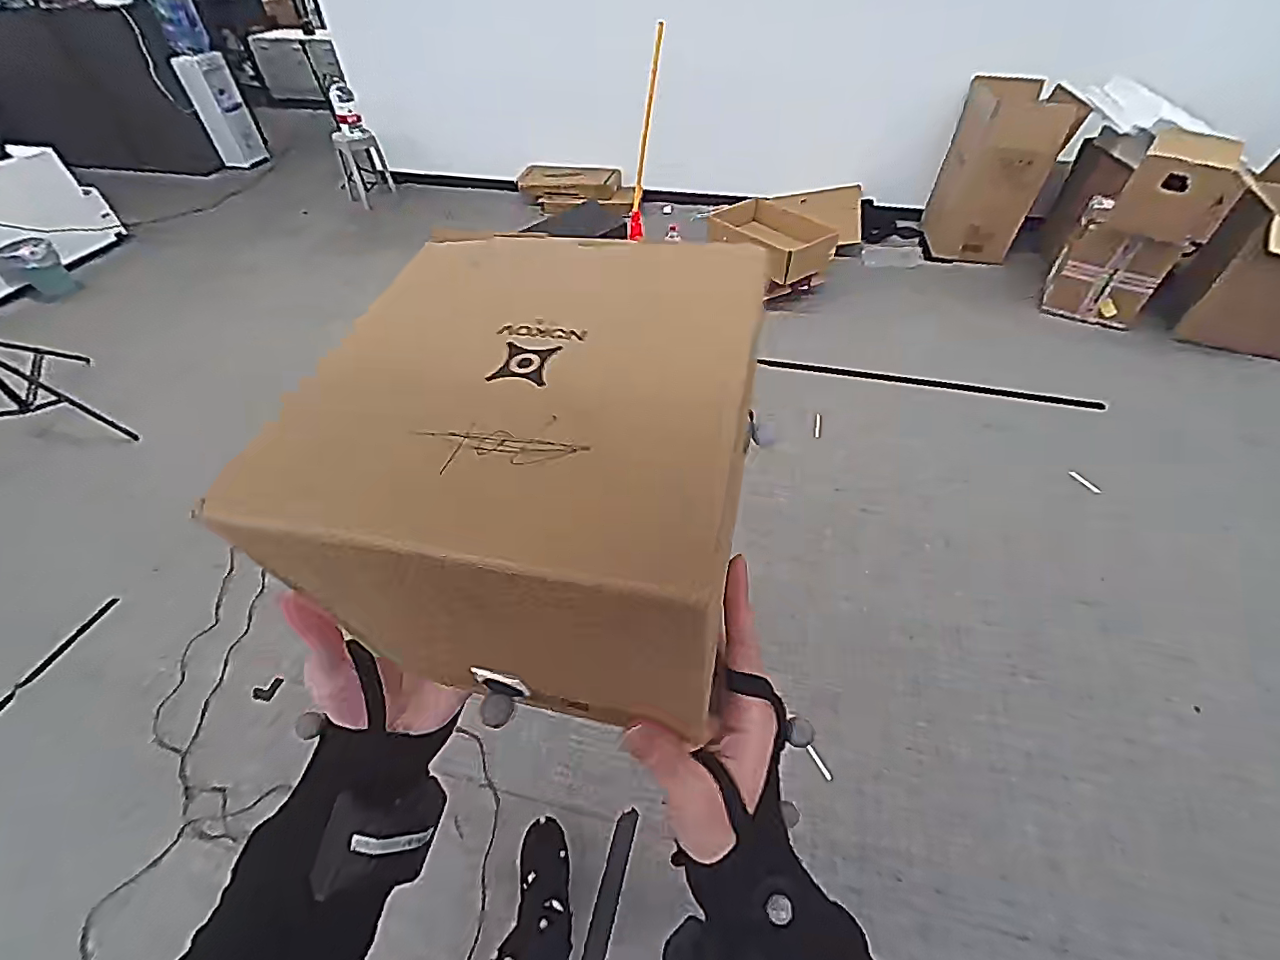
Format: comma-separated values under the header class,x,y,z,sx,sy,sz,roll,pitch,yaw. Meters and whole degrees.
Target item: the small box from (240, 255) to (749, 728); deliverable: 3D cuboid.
class,x,y,z,sx,sy,sz,roll,pitch,yaw
small box,-0.037,0.007,0.282,0.168,0.176,0.179,5,54,11
